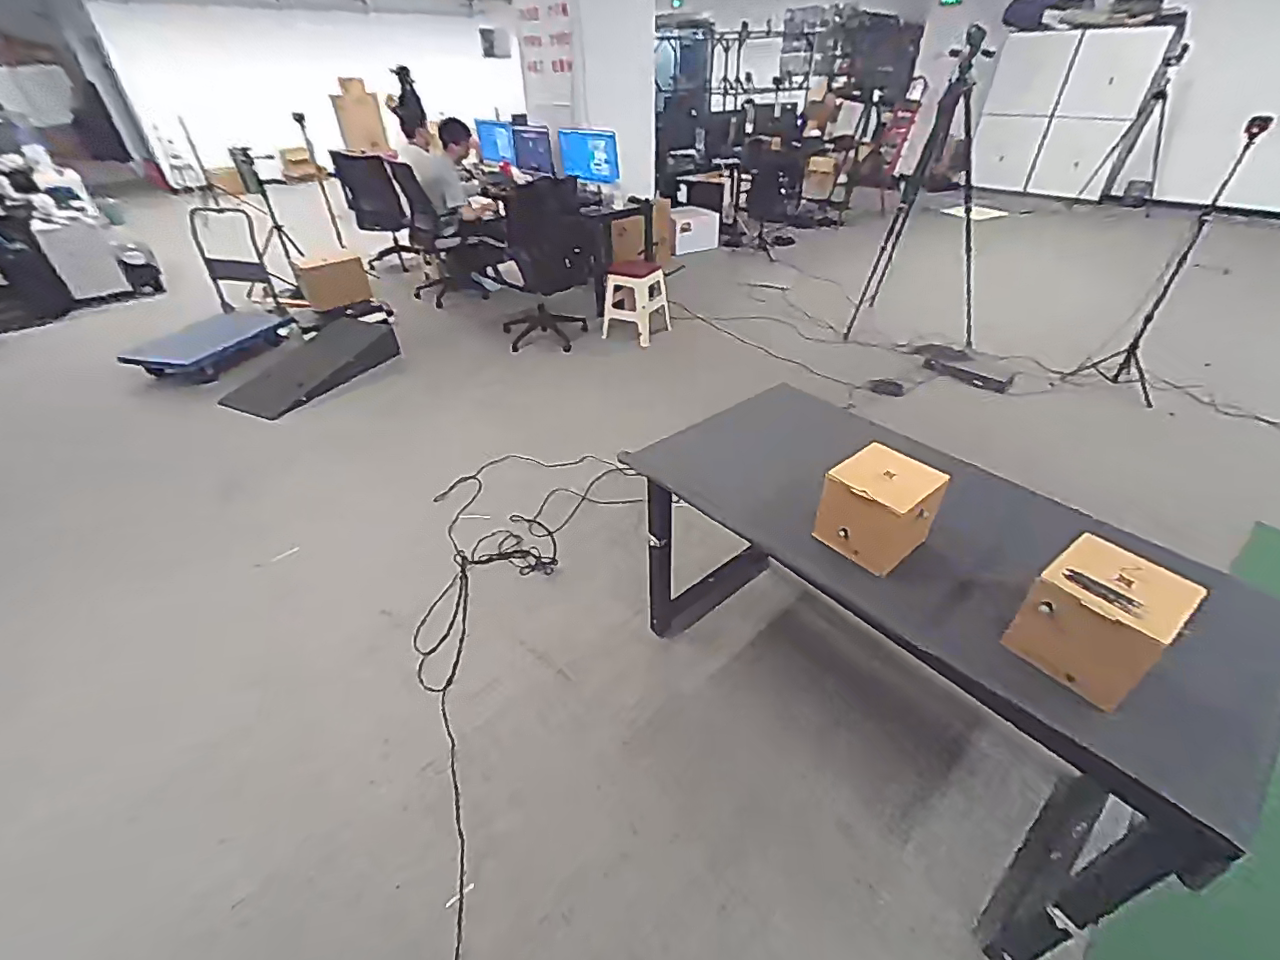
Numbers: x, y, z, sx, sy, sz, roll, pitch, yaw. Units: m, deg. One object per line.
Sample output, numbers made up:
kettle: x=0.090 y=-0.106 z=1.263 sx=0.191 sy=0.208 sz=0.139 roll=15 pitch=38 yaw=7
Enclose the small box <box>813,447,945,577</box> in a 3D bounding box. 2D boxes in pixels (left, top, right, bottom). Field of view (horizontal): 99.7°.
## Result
small box: x=0.480 y=0.065 z=1.111 sx=0.179 sy=0.176 sz=0.168 roll=-26 pitch=45 yaw=-31
